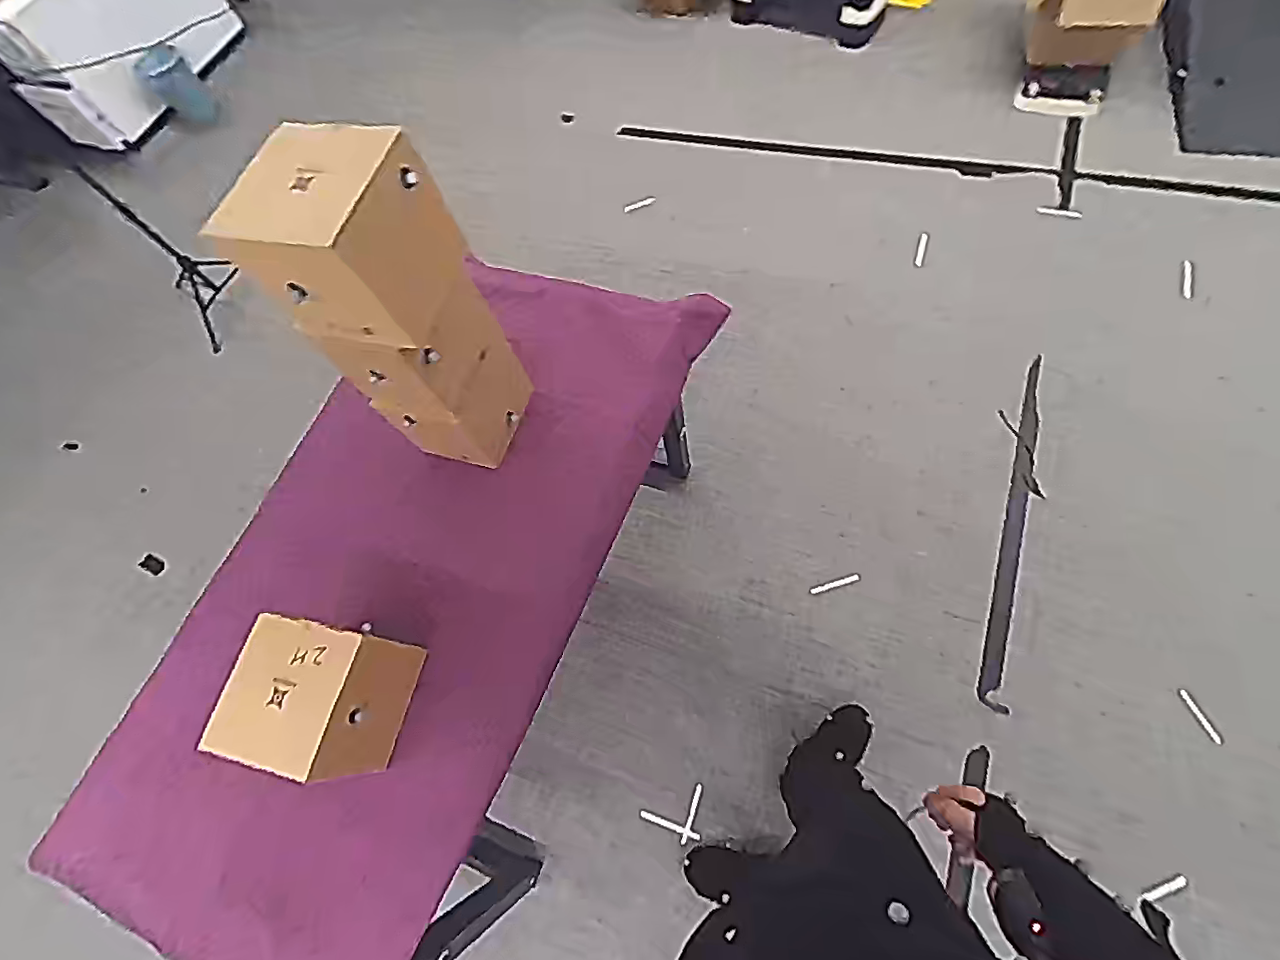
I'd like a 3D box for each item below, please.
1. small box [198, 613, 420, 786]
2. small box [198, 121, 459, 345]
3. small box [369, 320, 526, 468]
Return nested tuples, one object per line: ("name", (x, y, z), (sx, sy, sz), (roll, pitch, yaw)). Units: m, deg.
("small box", (-0.439, 0.301, 0.752), (0.168, 0.176, 0.179), (8, 68, 13))
("small box", (-0.340, -0.280, 0.632), (0.168, 0.176, 0.179), (10, 68, 13))
("small box", (-0.314, -0.145, 0.930), (0.168, 0.176, 0.179), (13, 69, 15))
